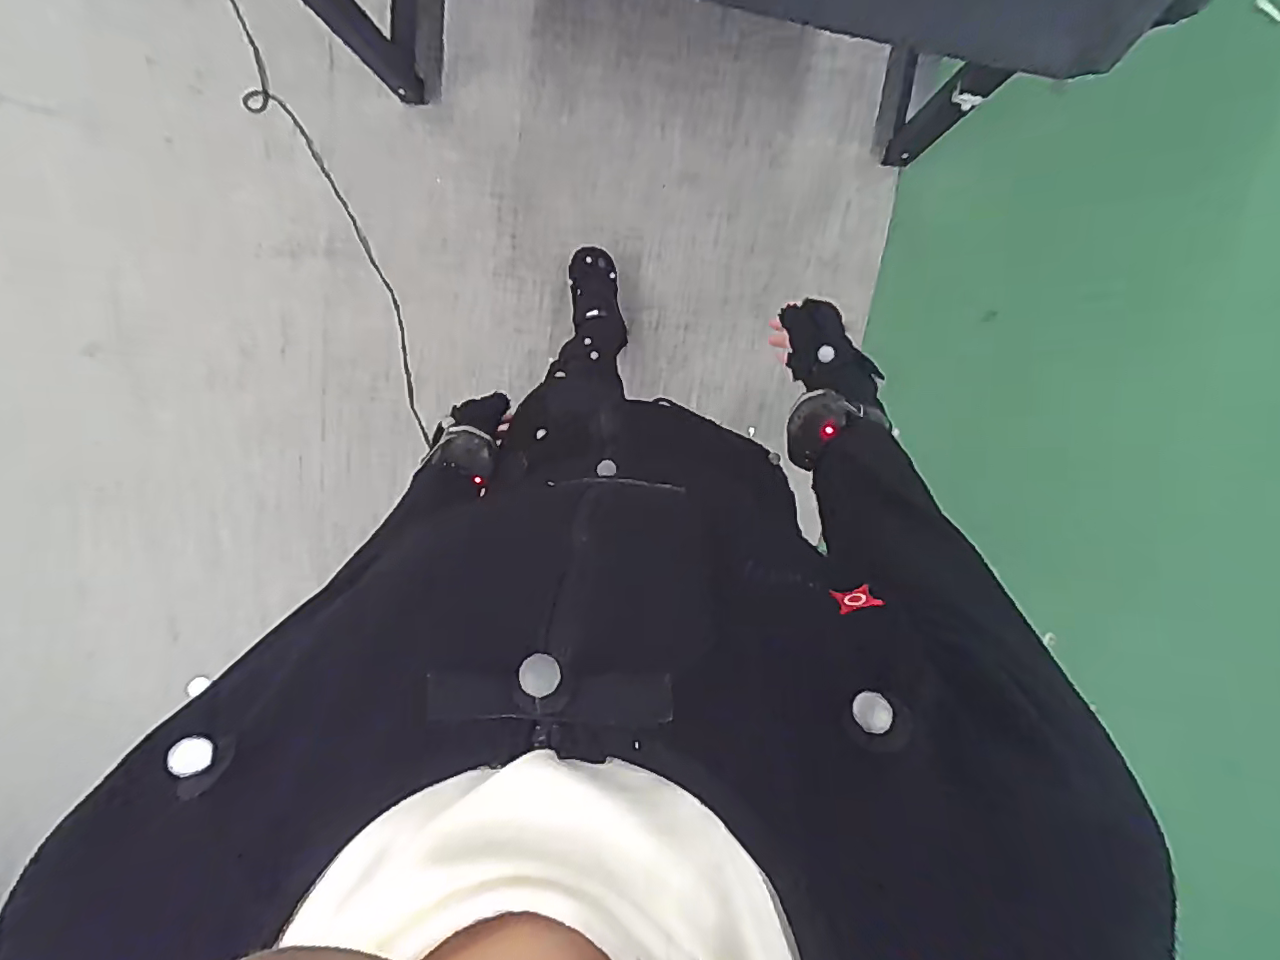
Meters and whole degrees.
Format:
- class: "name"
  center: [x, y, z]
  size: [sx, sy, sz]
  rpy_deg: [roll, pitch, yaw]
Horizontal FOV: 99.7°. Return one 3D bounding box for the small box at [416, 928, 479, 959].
- class: "small box"
  center: [-0.632, 1.579, 1.721]
  size: [0.179, 0.176, 0.168]
  rpy_deg: [11, 103, -1]
